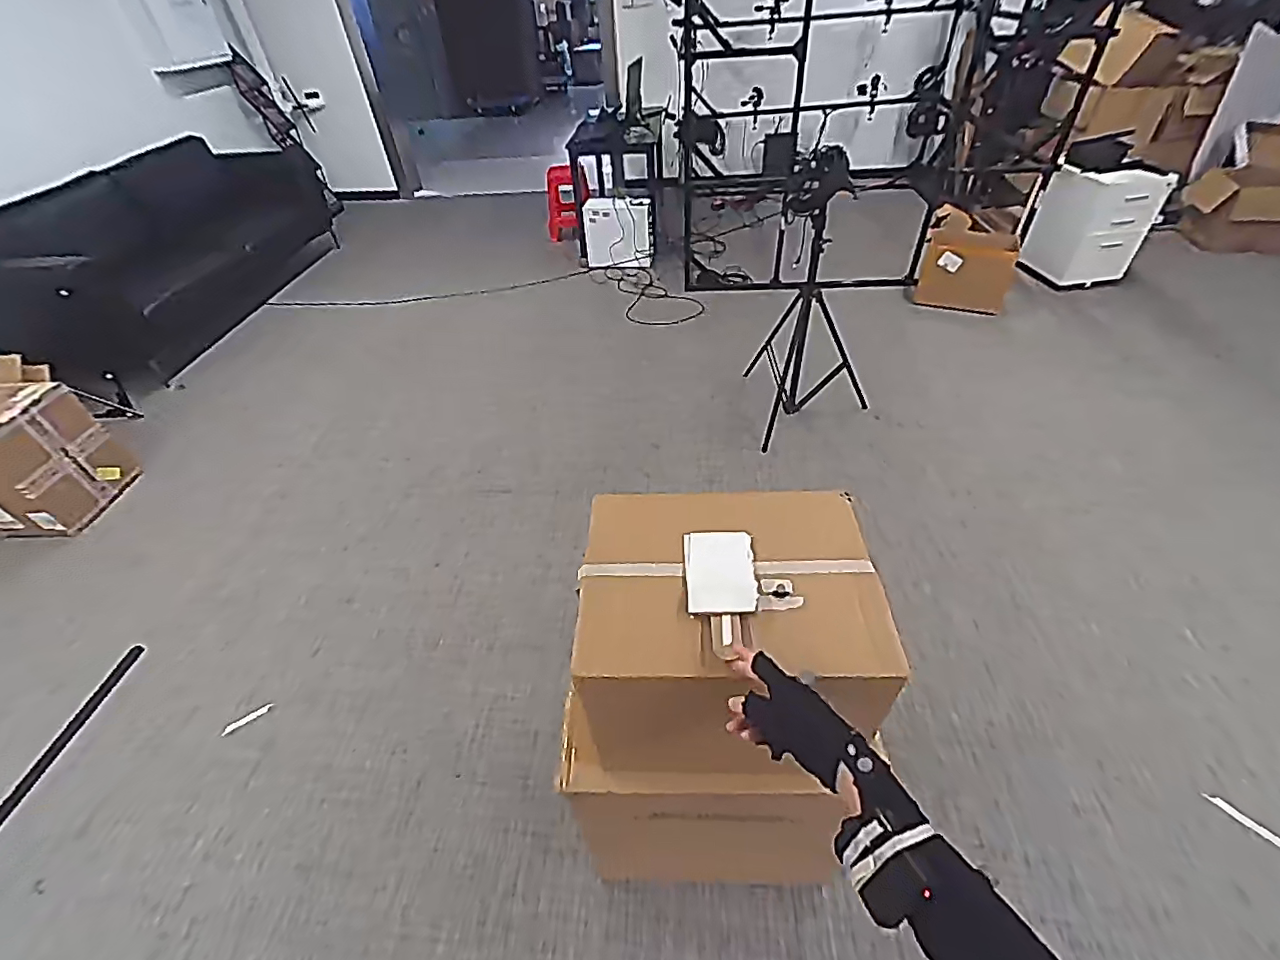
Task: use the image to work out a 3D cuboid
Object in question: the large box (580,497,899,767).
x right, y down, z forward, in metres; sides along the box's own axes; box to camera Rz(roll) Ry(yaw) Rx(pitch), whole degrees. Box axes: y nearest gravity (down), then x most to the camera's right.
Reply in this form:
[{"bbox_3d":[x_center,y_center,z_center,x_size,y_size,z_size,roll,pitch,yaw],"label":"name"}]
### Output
[{"bbox_3d":[0.128,0.245,0.875,0.408,0.320,0.320,-1,43,3],"label":"large box"}]
